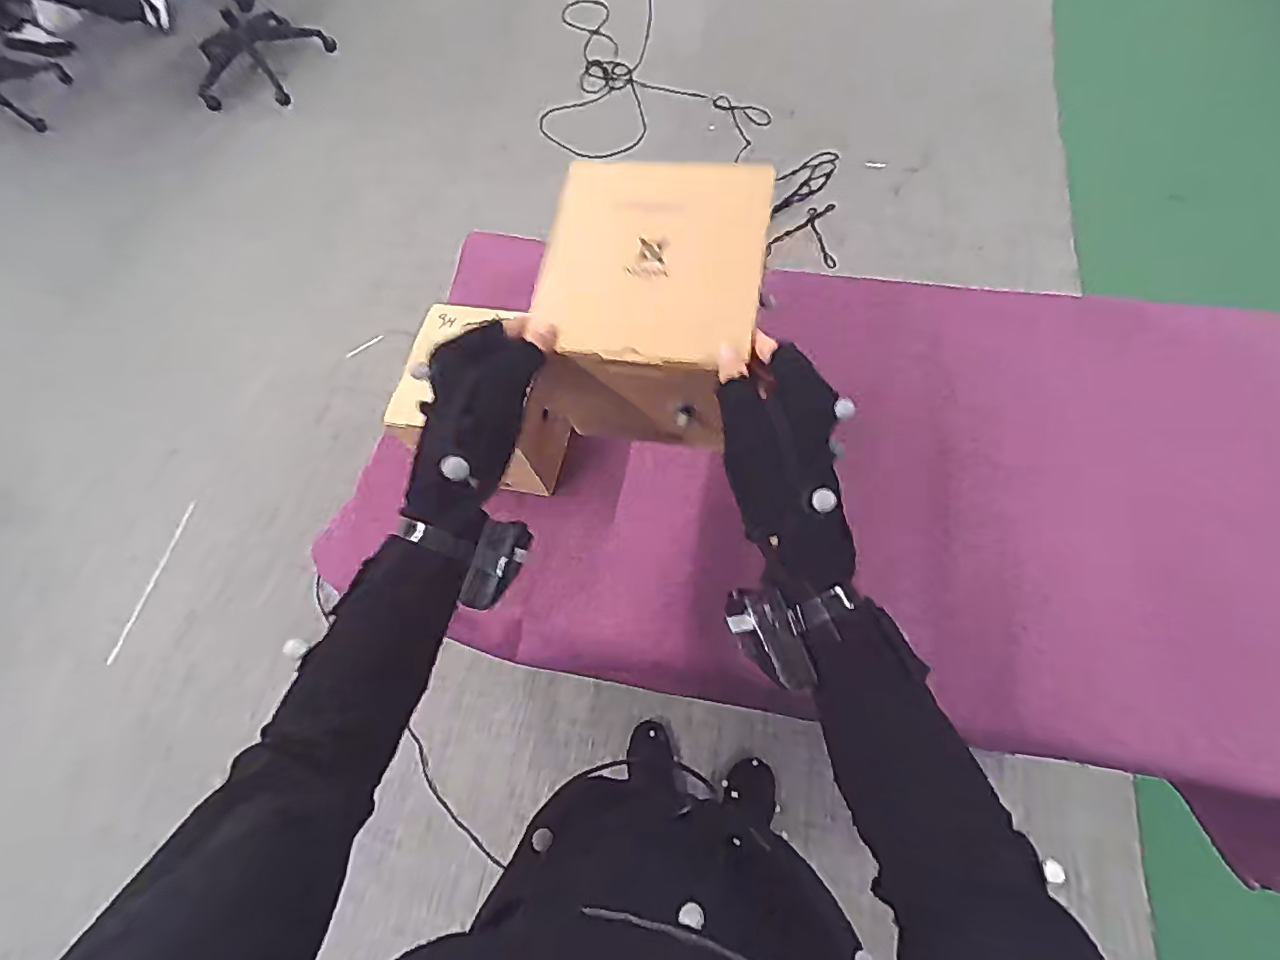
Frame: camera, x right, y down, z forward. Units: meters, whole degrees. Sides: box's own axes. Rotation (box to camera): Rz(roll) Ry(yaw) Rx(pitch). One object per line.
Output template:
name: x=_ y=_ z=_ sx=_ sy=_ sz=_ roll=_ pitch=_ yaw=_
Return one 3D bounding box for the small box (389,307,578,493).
small box: x=-0.187 y=-0.097 z=0.712 sx=0.168 sy=0.176 sz=0.179 roll=9 pitch=68 yaw=10

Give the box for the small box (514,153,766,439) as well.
small box: x=0.013 y=-0.149 z=0.476 sx=0.168 sy=0.176 sz=0.179 roll=8 pitch=74 yaw=11
